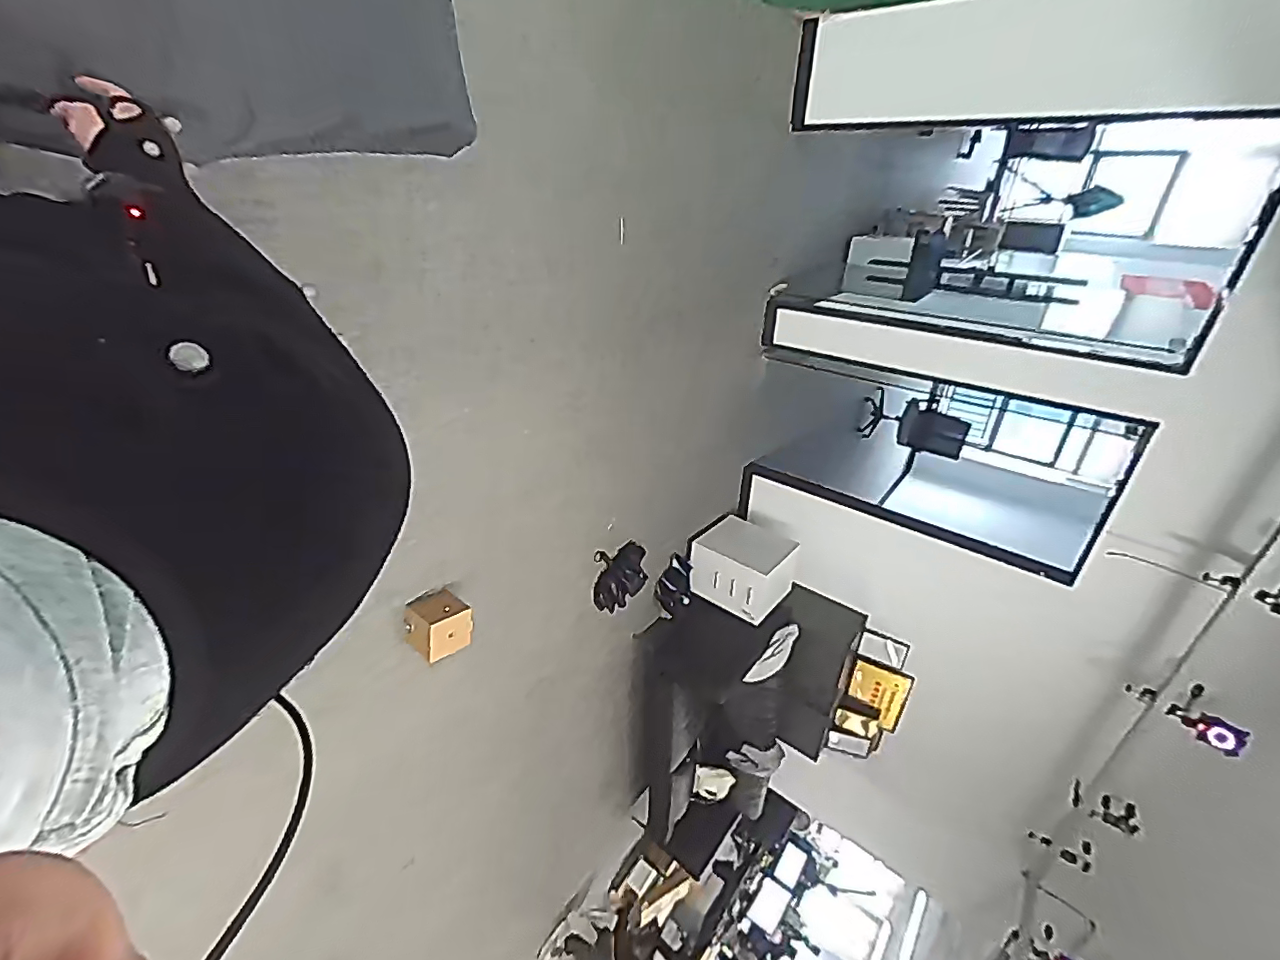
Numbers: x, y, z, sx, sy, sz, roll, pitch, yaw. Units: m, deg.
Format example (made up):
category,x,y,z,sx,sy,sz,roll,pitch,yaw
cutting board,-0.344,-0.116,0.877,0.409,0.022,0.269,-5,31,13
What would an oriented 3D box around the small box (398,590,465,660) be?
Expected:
category,x,y,z,sx,sy,sz,roll,pitch,yaw
small box,-0.790,0.540,2.045,0.179,0.176,0.168,-18,122,-50
